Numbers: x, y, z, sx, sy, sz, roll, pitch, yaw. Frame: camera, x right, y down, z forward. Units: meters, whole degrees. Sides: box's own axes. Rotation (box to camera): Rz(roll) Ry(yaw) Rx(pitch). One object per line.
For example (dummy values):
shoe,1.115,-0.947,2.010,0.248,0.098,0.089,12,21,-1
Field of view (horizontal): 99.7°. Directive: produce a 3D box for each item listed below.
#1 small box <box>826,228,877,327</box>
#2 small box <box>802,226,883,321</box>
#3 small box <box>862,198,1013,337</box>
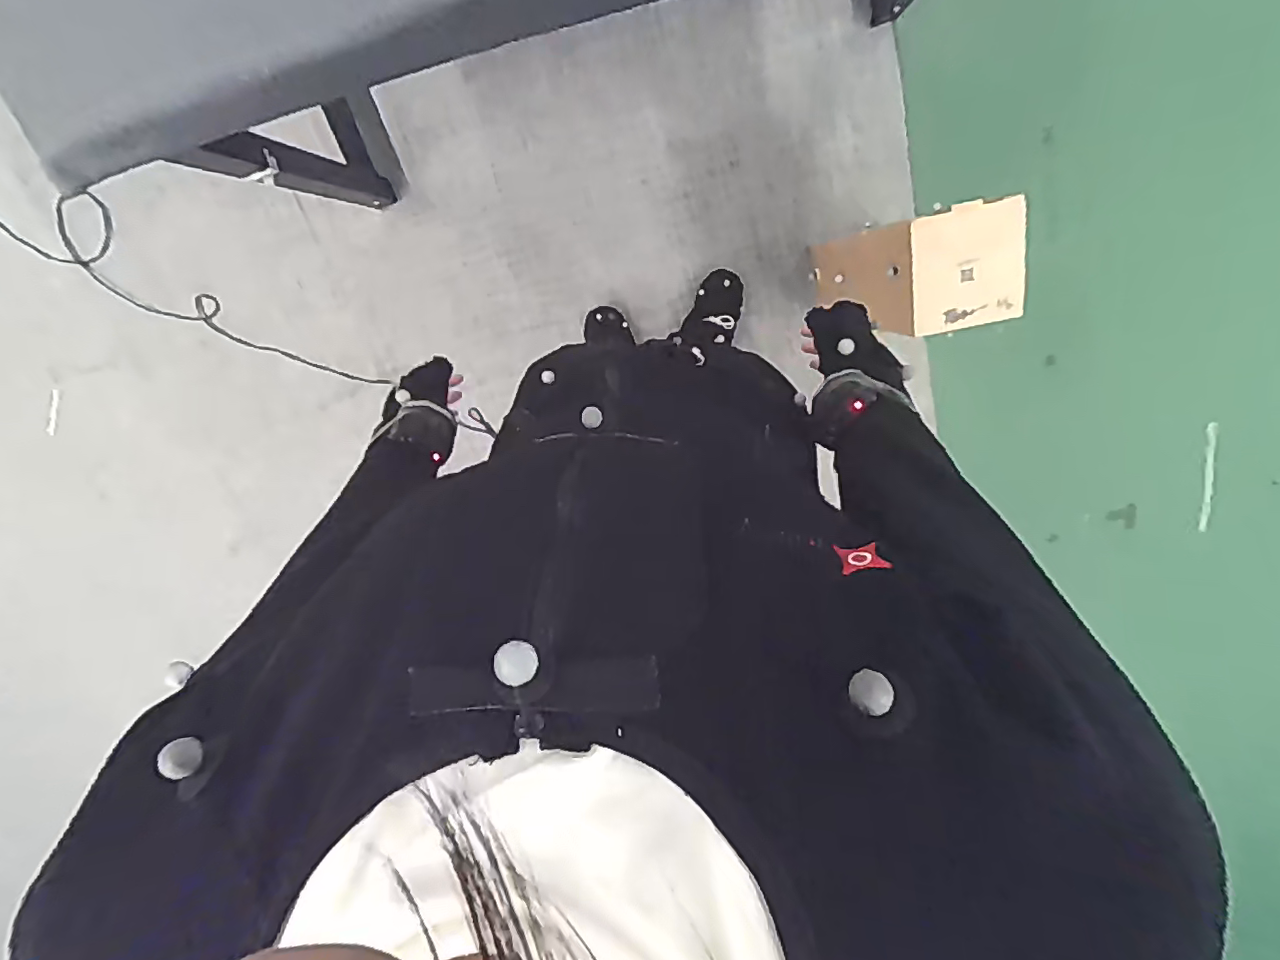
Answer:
small box,0.478,-0.402,1.046,0.179,0.176,0.168,-10,109,6
small box,0.476,-0.460,1.200,0.179,0.176,0.168,-12,109,7
small box,0.480,-0.343,0.894,0.168,0.176,0.179,-10,108,5
